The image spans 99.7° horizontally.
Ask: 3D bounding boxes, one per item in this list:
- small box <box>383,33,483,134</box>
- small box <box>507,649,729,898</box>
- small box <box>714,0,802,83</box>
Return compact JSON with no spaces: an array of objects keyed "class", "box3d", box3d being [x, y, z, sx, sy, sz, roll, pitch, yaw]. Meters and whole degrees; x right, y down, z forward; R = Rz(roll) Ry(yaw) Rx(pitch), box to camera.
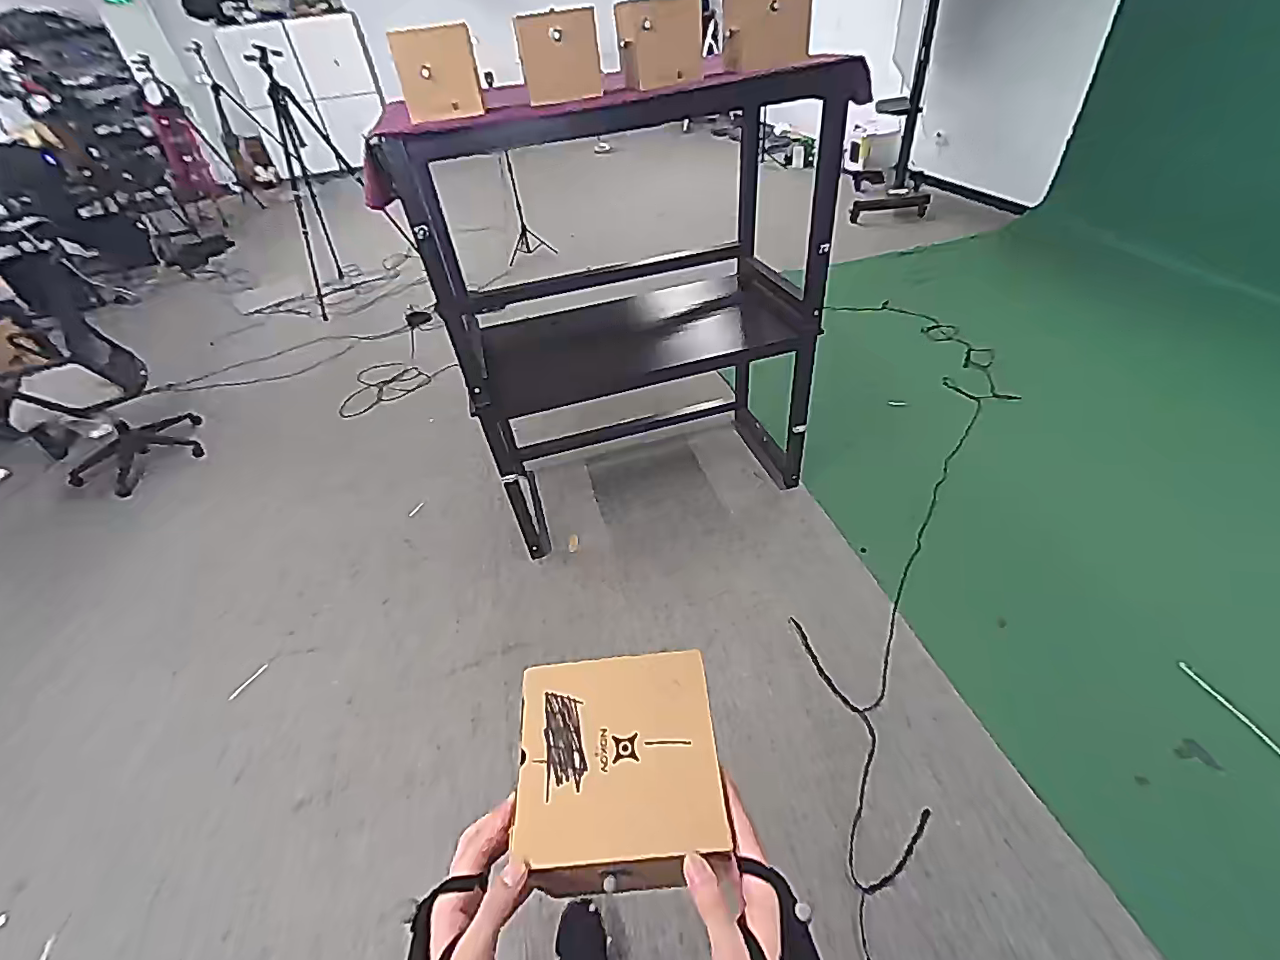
[{"class":"small box","box3d":[-0.471,-0.917,1.256,0.168,0.176,0.179,-12,39,-5]},{"class":"small box","box3d":[-0.013,0.287,0.524,0.179,0.176,0.168,-7,46,1]},{"class":"small box","box3d":[0.297,-1.120,1.361,0.179,0.176,0.168,-13,42,-4]}]
